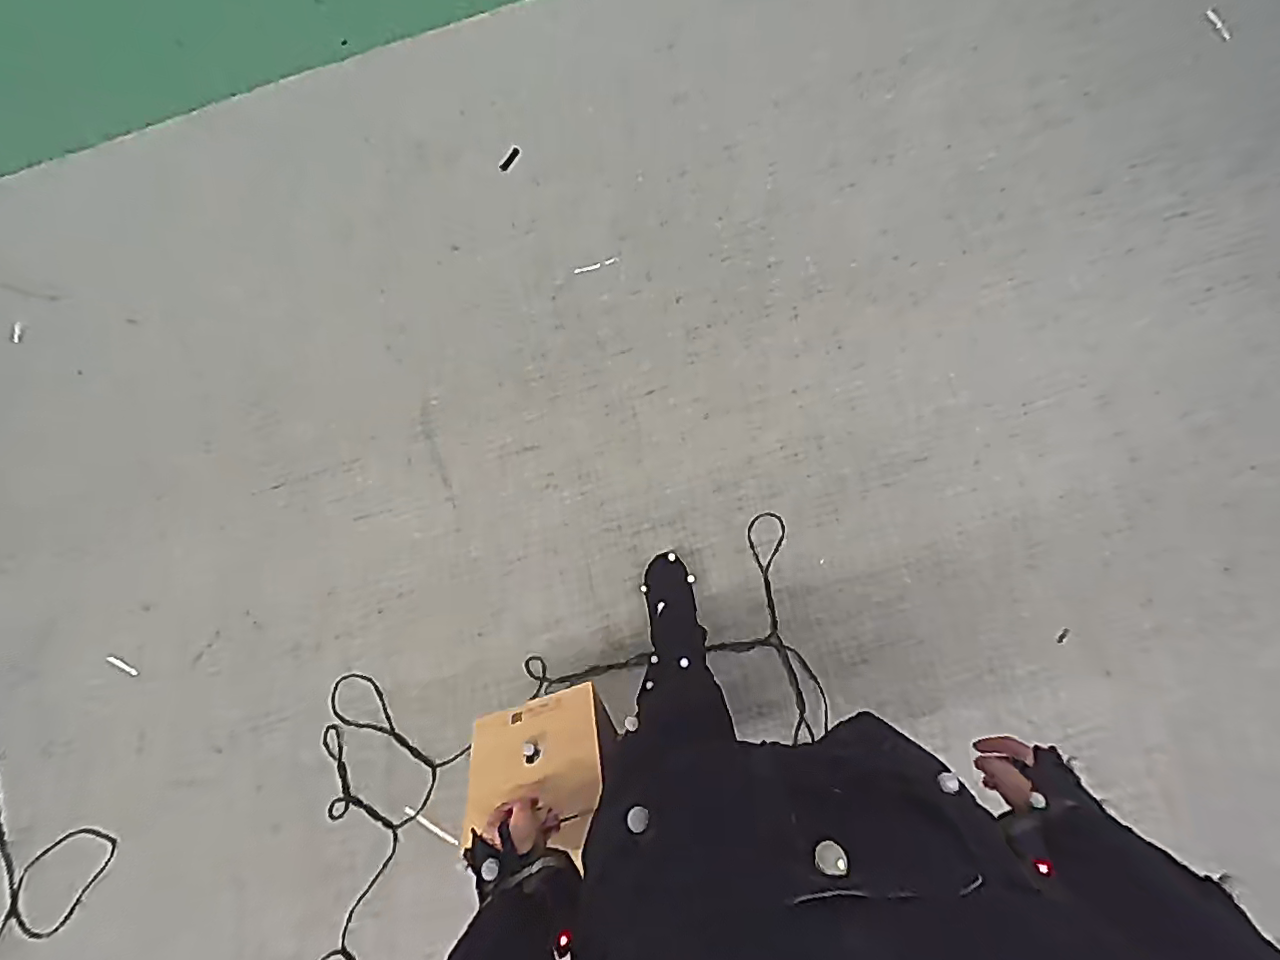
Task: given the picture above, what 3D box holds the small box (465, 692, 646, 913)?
[{"bbox_3d":[-0.106,0.397,0.690,0.168,0.179,0.176,-19,32,-1],"label":"small box"}]
